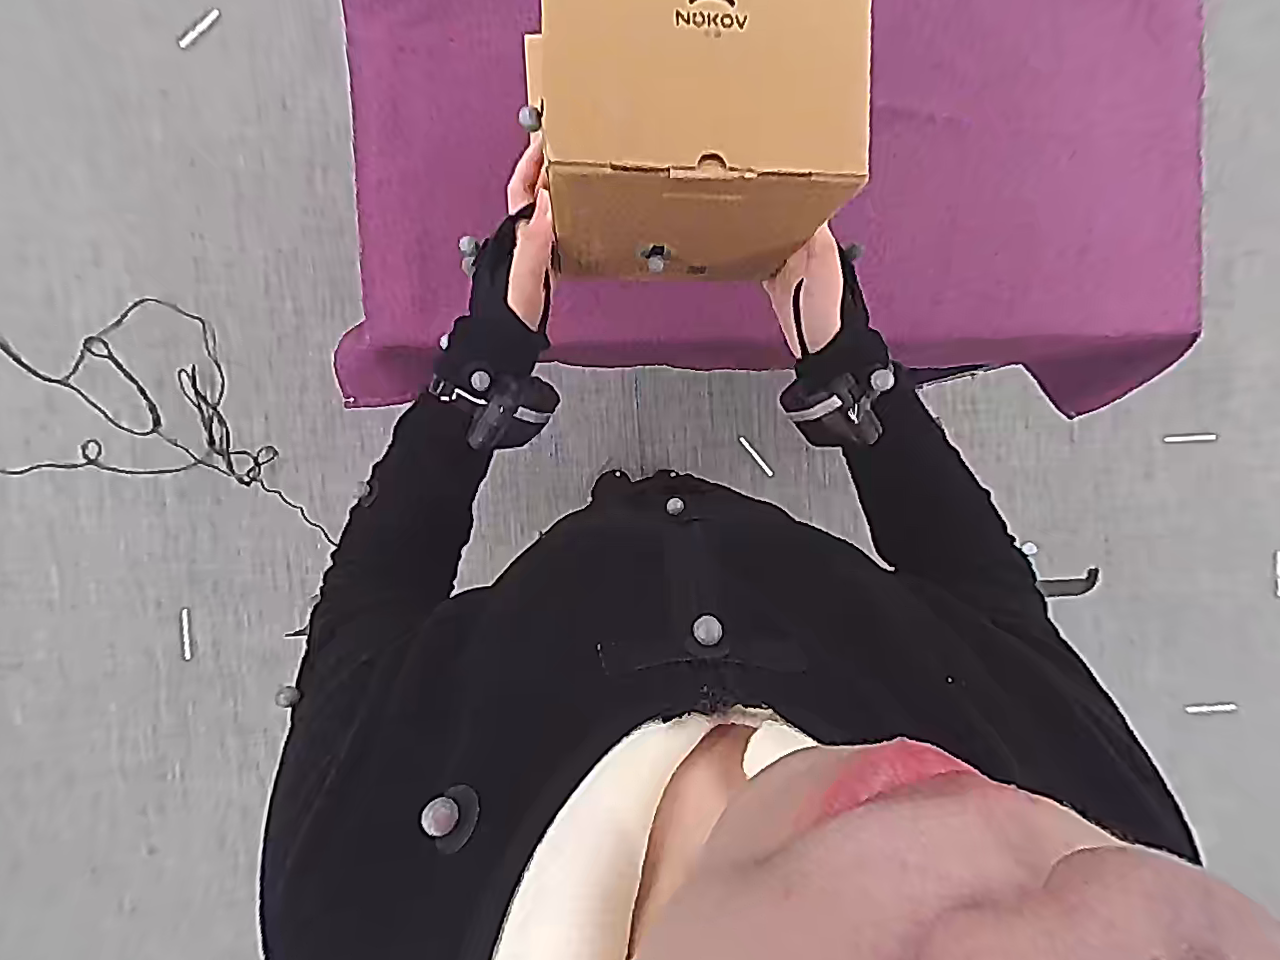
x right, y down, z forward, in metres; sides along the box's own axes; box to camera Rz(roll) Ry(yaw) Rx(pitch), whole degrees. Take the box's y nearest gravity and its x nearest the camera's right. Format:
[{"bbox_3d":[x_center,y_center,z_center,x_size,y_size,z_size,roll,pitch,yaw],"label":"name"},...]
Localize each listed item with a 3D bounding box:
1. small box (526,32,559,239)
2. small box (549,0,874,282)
[{"bbox_3d":[-0.045,-0.411,0.680,0.168,0.176,0.179,-3,92,-3],"label":"small box"},{"bbox_3d":[0.027,-0.241,0.343,0.168,0.176,0.179,-1,95,-6],"label":"small box"}]
